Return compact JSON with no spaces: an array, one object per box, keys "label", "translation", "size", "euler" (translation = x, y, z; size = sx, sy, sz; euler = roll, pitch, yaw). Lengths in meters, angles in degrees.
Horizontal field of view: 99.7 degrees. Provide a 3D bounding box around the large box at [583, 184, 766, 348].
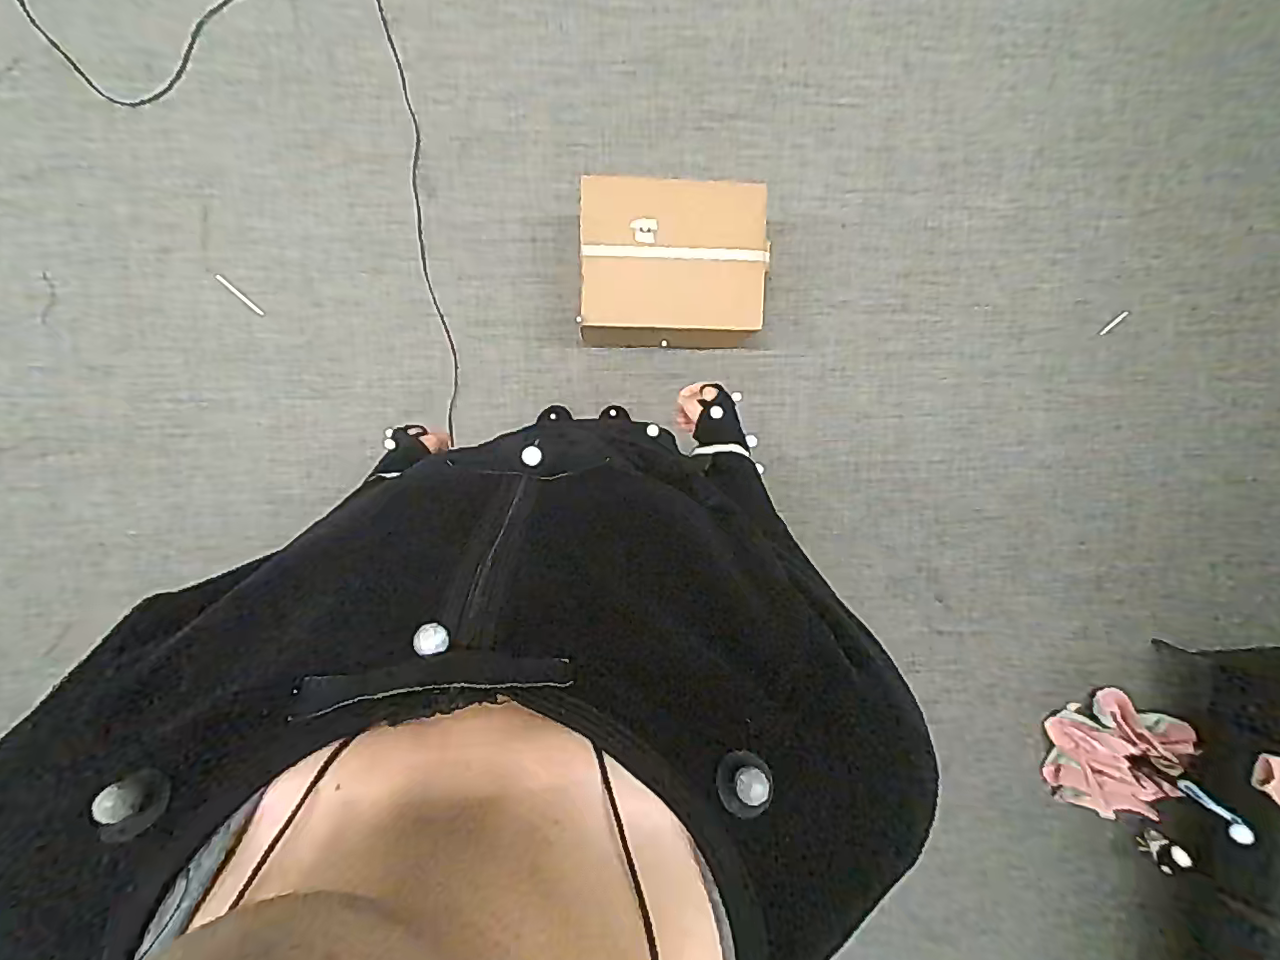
[{"label":"large box","translation":[0.070,-0.498,1.325],"size":[0.408,0.320,0.320],"euler":[1,96,-3]}]
